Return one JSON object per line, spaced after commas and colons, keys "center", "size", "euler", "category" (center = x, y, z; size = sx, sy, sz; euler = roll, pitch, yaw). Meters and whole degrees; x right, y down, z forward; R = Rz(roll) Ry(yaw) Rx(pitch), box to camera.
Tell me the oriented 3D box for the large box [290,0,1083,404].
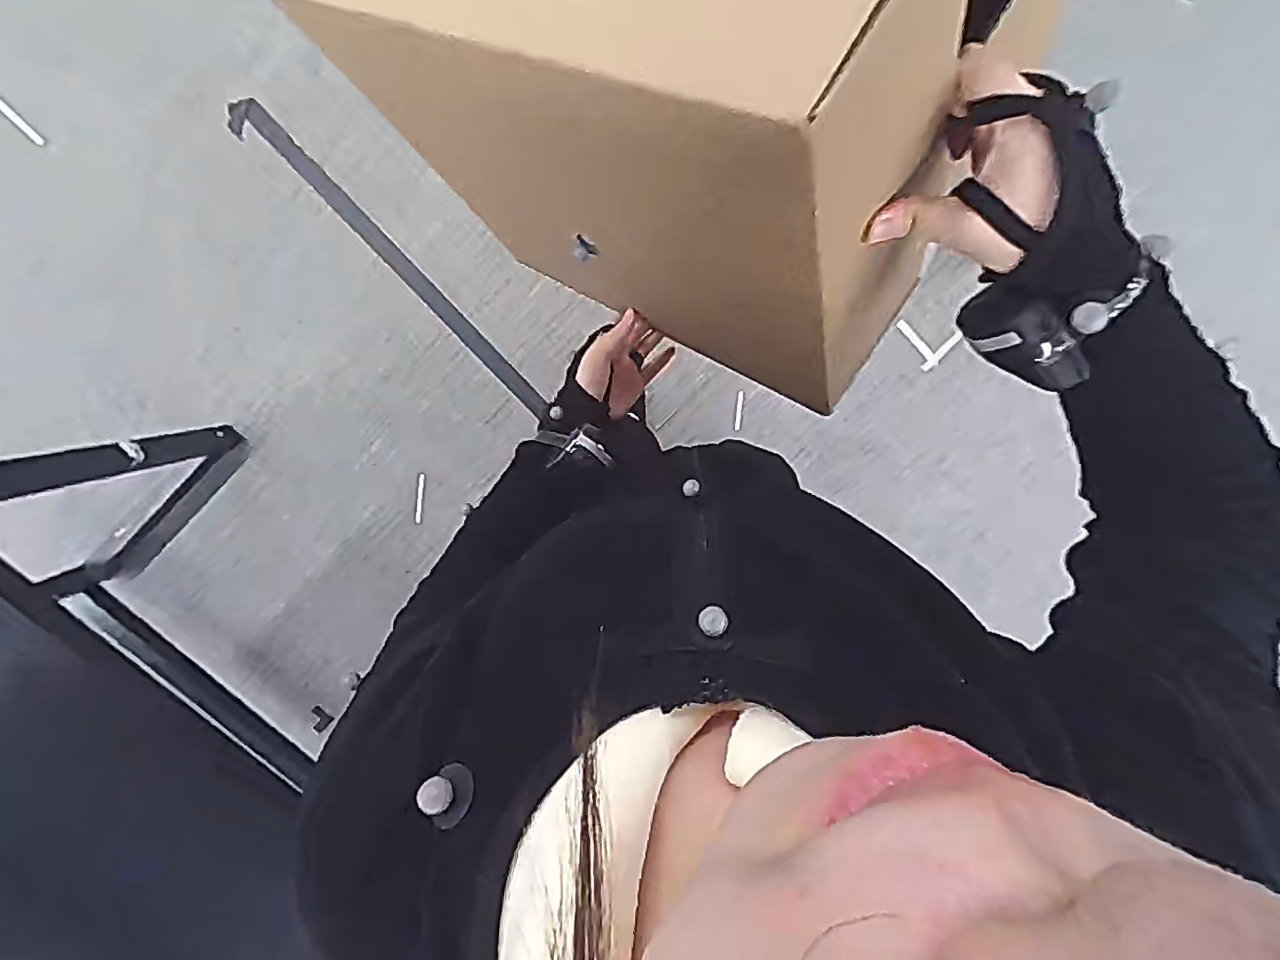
{"center": [0.054, -0.313, 0.401], "size": [0.408, 0.320, 0.320], "euler": [33, 89, 26], "category": "large box"}
